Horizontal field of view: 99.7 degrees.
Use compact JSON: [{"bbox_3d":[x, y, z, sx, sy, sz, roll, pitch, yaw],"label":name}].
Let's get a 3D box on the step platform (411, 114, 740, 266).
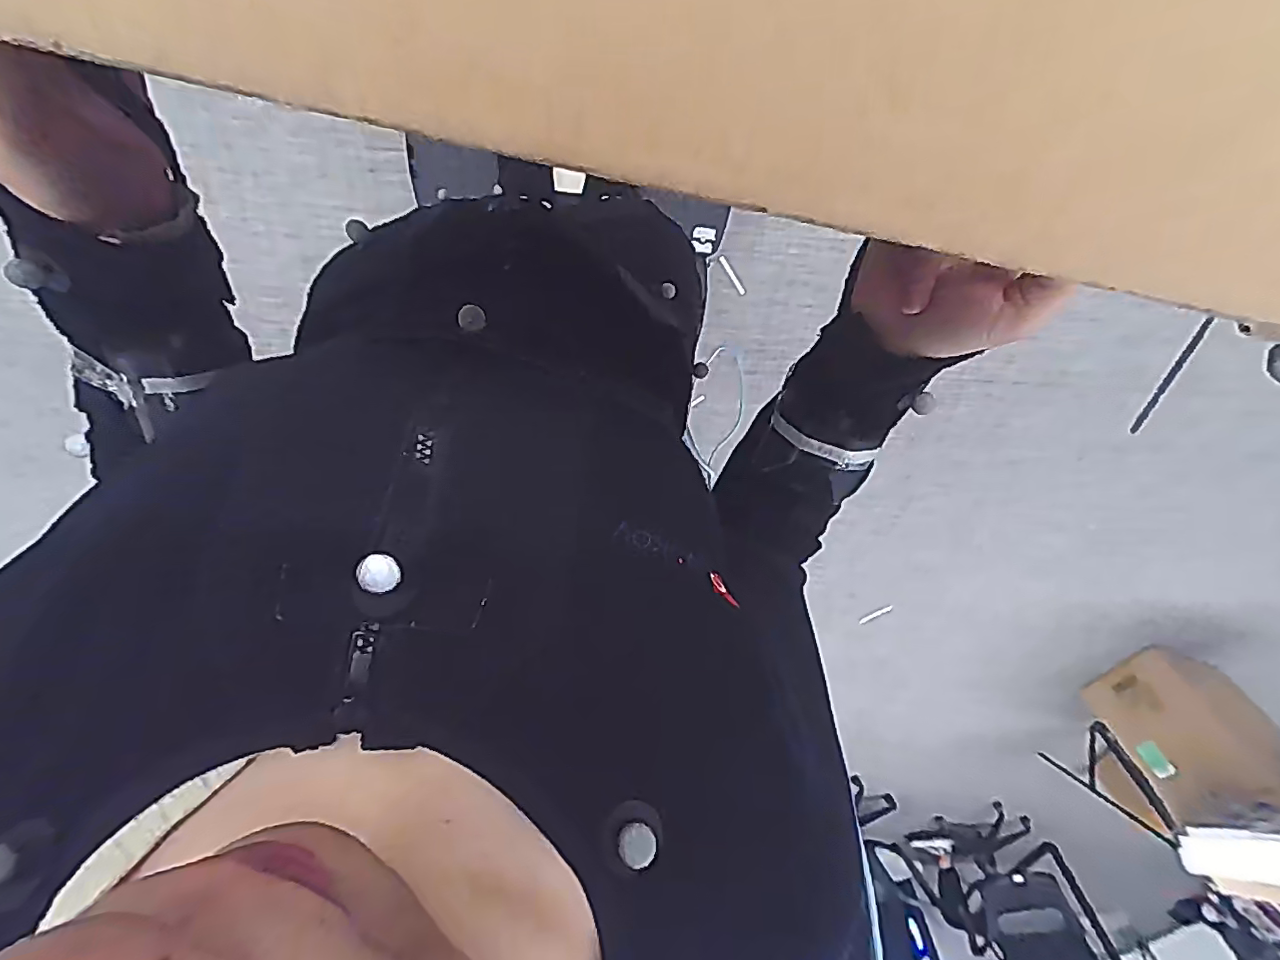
[{"bbox_3d":[-0.125,-0.674,1.171,0.684,0.204,0.286,6,127,-8],"label":"step platform"}]
